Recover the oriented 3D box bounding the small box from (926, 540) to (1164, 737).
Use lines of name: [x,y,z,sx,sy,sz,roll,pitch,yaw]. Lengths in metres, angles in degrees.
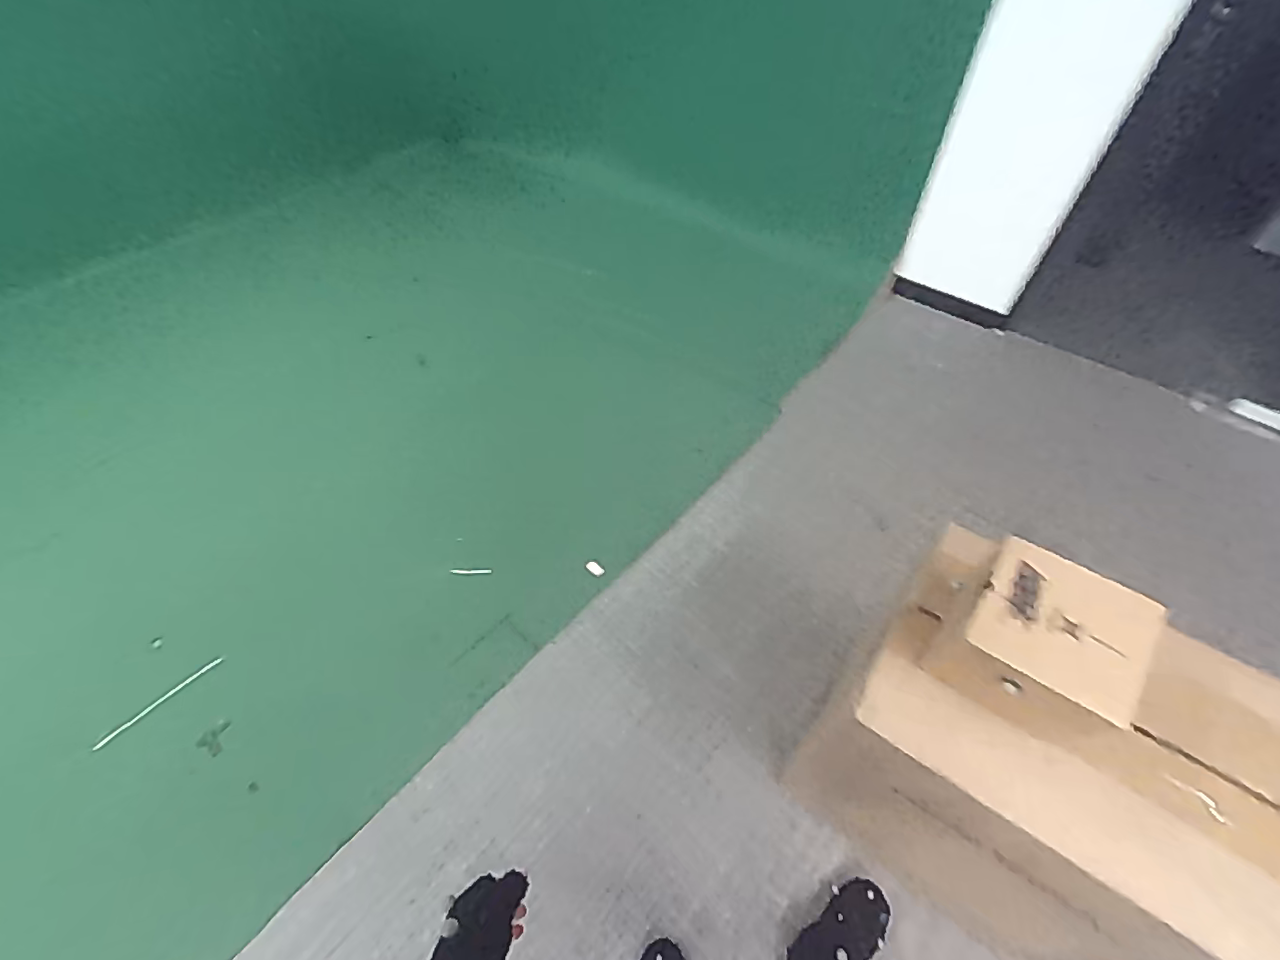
small box: [0.513,0.215,0.712,0.179,0.176,0.168,31,69,23]
